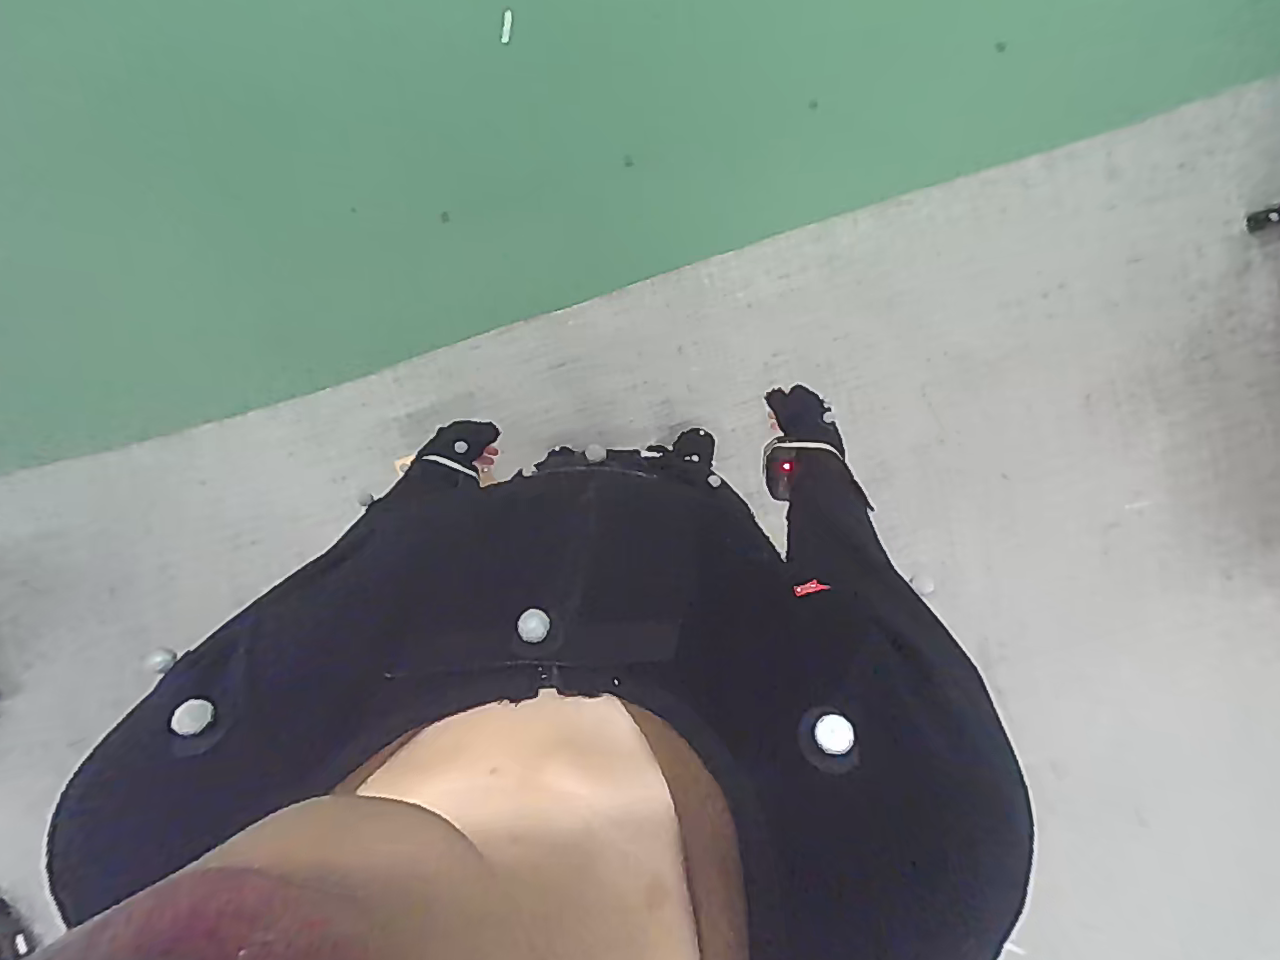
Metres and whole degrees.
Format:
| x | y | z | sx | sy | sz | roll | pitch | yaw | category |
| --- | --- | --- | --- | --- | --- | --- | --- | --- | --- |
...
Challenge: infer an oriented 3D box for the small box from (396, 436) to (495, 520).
| x | y | z | sx | sy | sz | roll | pitch | yaw | category |
| --- | --- | --- | --- | --- | --- | --- | --- | --- | --- |
| -0.485 | -0.012 | 1.389 | 0.179 | 0.176 | 0.168 | -17 | 95 | 1 | small box |
